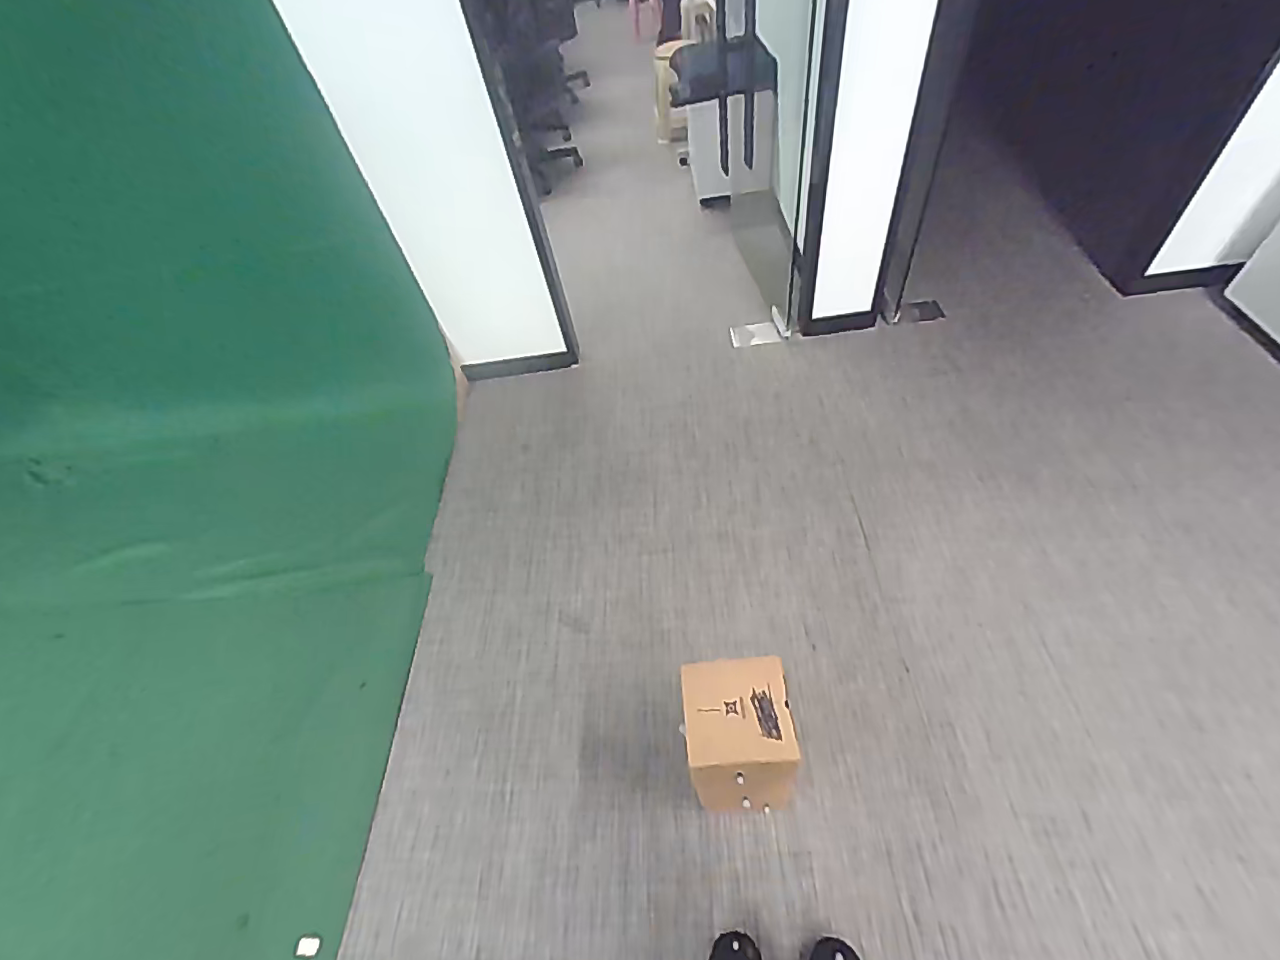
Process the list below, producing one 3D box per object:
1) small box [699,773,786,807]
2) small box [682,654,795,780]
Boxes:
[{"bbox_3d":[0.220,0.623,1.208,0.179,0.176,0.168,-8,50,7],"label":"small box"},{"bbox_3d":[0.167,0.418,0.953,0.179,0.176,0.168,-4,49,7],"label":"small box"}]
